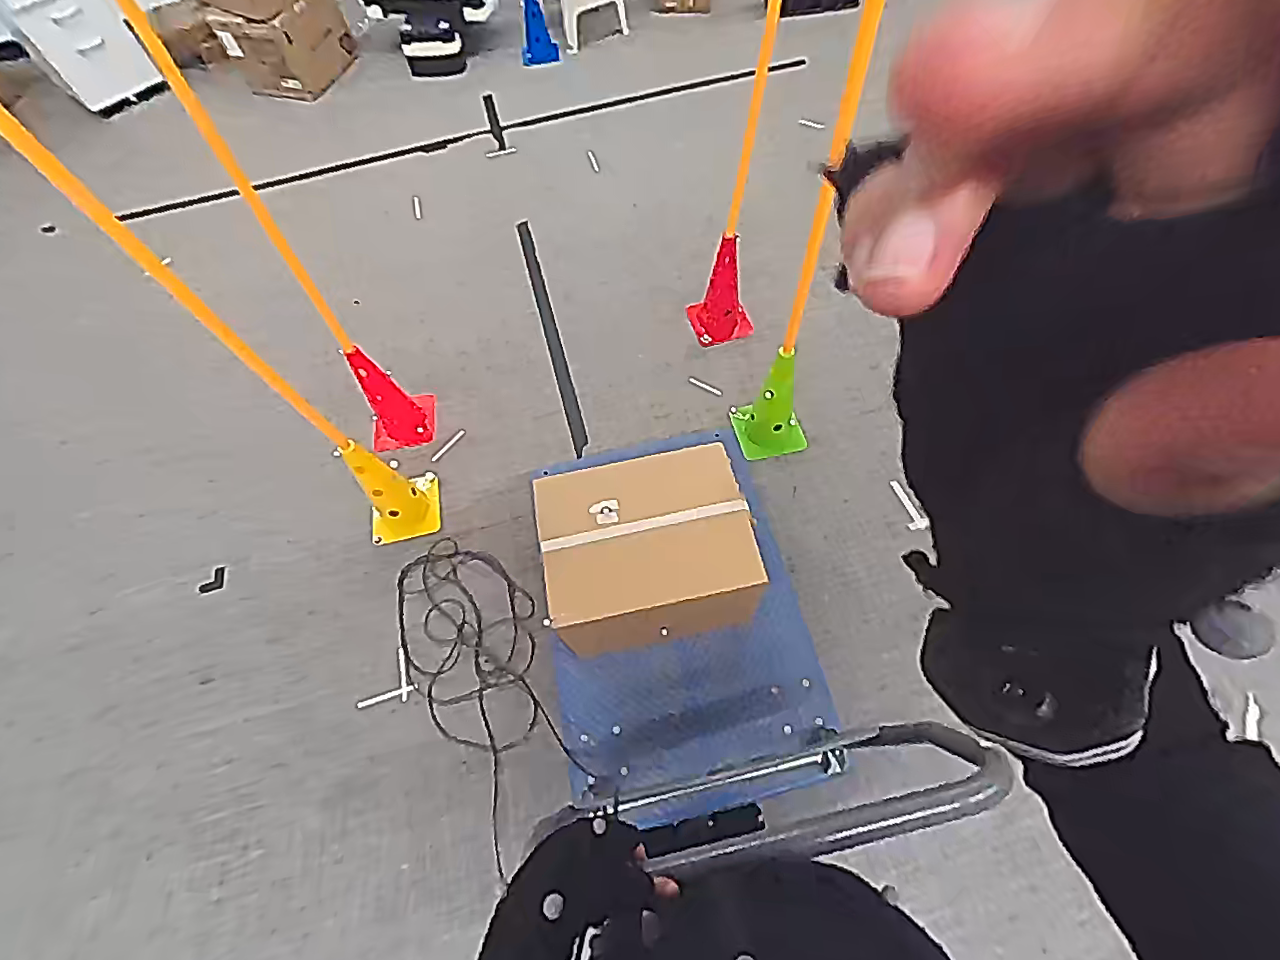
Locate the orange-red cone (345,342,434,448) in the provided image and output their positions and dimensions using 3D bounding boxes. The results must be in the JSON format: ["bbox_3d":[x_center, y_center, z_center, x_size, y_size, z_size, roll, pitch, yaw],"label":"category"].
[{"bbox_3d":[-0.790,-0.281,1.639,0.198,0.360,0.199,-9,60,-2],"label":"orange-red cone"}]

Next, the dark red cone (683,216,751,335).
[{"bbox_3d":[0.267,-0.674,1.765,0.201,0.394,0.202,-15,62,-7],"label":"dark red cone"}]

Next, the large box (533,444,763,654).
[{"bbox_3d":[0.014,0.164,1.184,0.408,0.320,0.320,-12,62,-2],"label":"large box"}]

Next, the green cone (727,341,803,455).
[{"bbox_3d":[0.386,-0.254,1.551,0.202,0.368,0.200,-12,62,-4],"label":"green cone"}]
